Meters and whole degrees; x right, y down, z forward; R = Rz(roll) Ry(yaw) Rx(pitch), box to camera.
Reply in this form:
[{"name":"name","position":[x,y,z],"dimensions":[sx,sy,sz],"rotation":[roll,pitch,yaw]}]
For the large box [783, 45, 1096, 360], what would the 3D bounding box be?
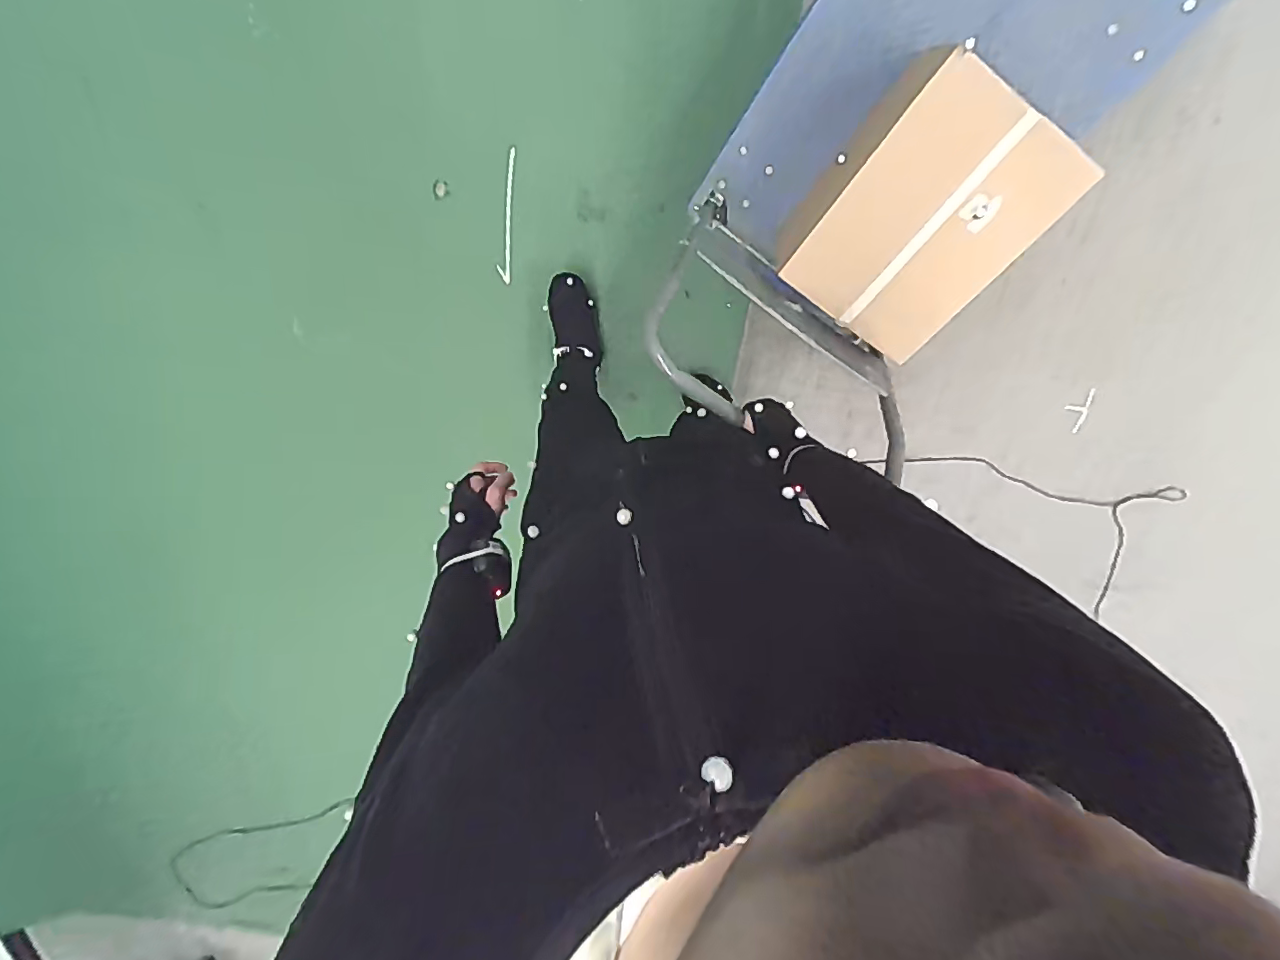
[{"name":"large box","position":[0.525,-0.525,1.058],"dimensions":[0.320,0.320,0.408],"rotation":[31,126,-10]}]
